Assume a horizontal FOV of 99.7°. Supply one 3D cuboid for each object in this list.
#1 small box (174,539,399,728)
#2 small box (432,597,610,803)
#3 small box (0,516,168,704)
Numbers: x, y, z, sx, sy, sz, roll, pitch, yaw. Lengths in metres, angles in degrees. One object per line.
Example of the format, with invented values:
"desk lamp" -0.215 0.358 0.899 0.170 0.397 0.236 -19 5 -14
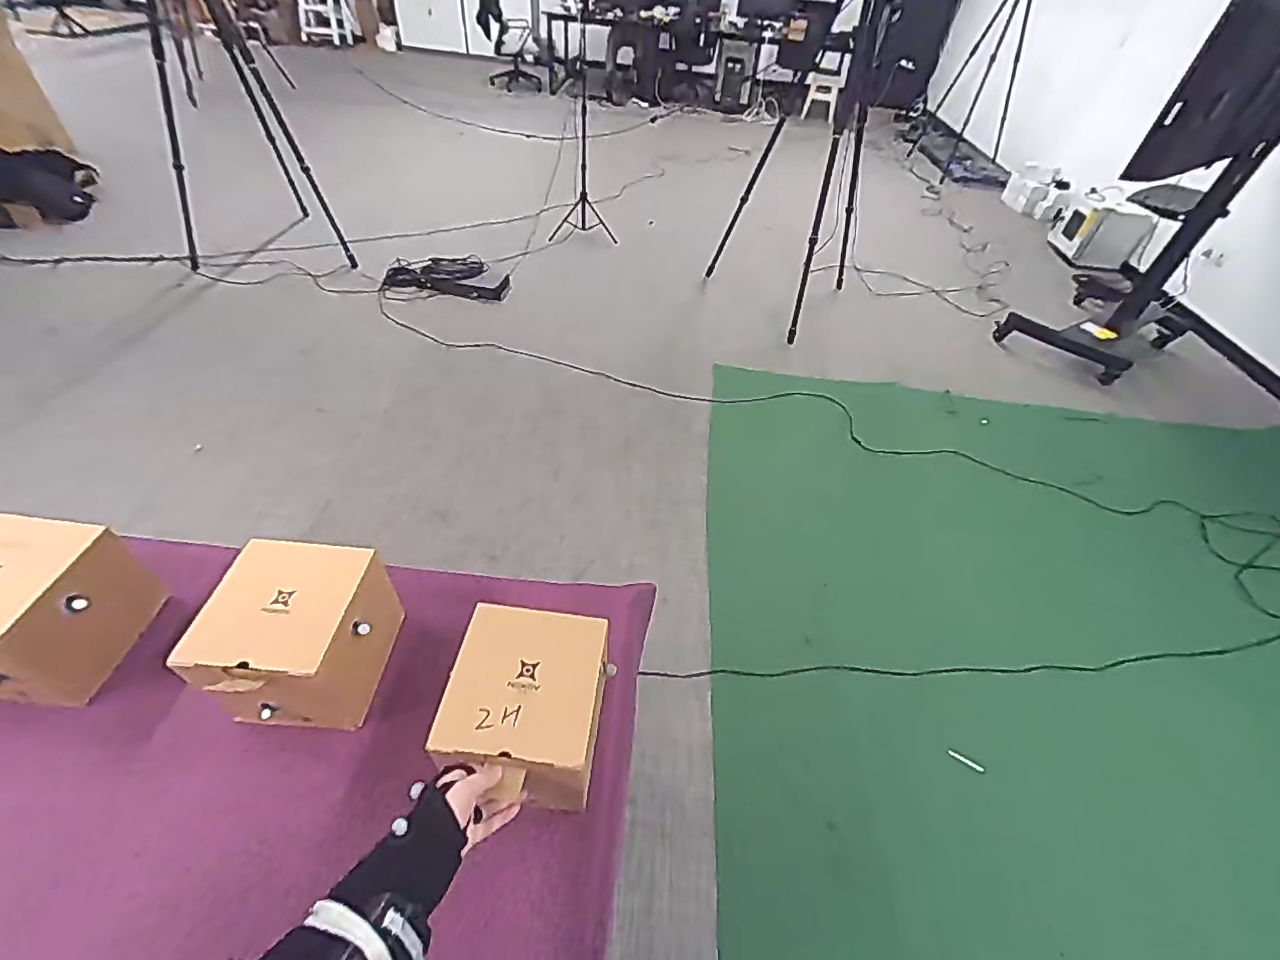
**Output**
"small box" -0.439 0.203 0.714 0.168 0.176 0.179 5 46 -1
"small box" -0.133 0.273 0.671 0.168 0.176 0.179 7 46 2
"small box" -0.787 0.173 0.708 0.168 0.176 0.179 7 46 0
